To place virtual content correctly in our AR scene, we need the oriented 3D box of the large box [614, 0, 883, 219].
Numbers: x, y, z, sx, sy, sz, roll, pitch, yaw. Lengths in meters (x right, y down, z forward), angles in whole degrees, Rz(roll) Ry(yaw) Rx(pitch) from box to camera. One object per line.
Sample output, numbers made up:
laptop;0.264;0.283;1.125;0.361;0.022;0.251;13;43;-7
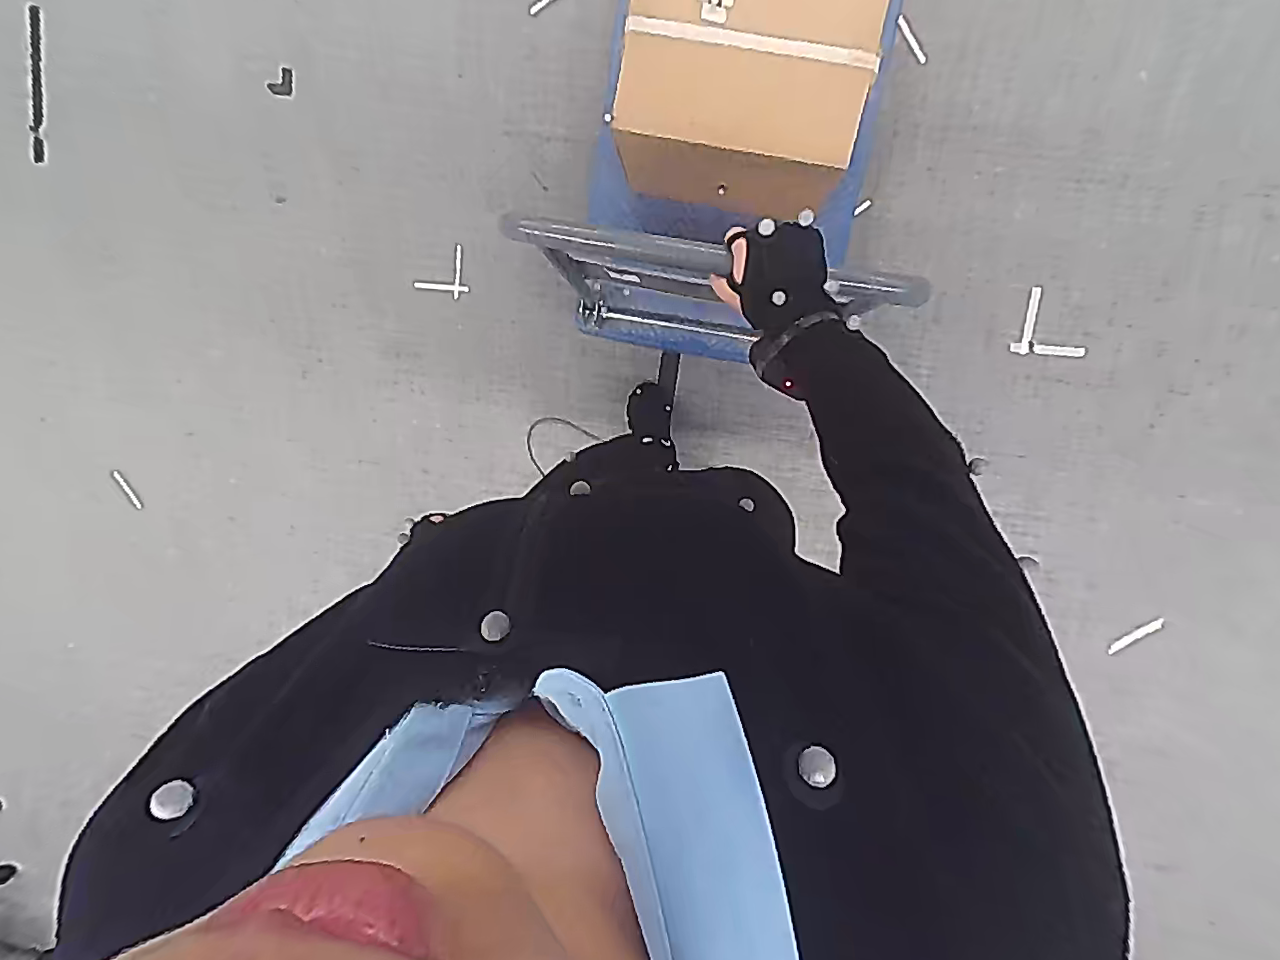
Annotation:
large box;0.193;-0.732;1.035;0.408;0.320;0.320;12;99;4
